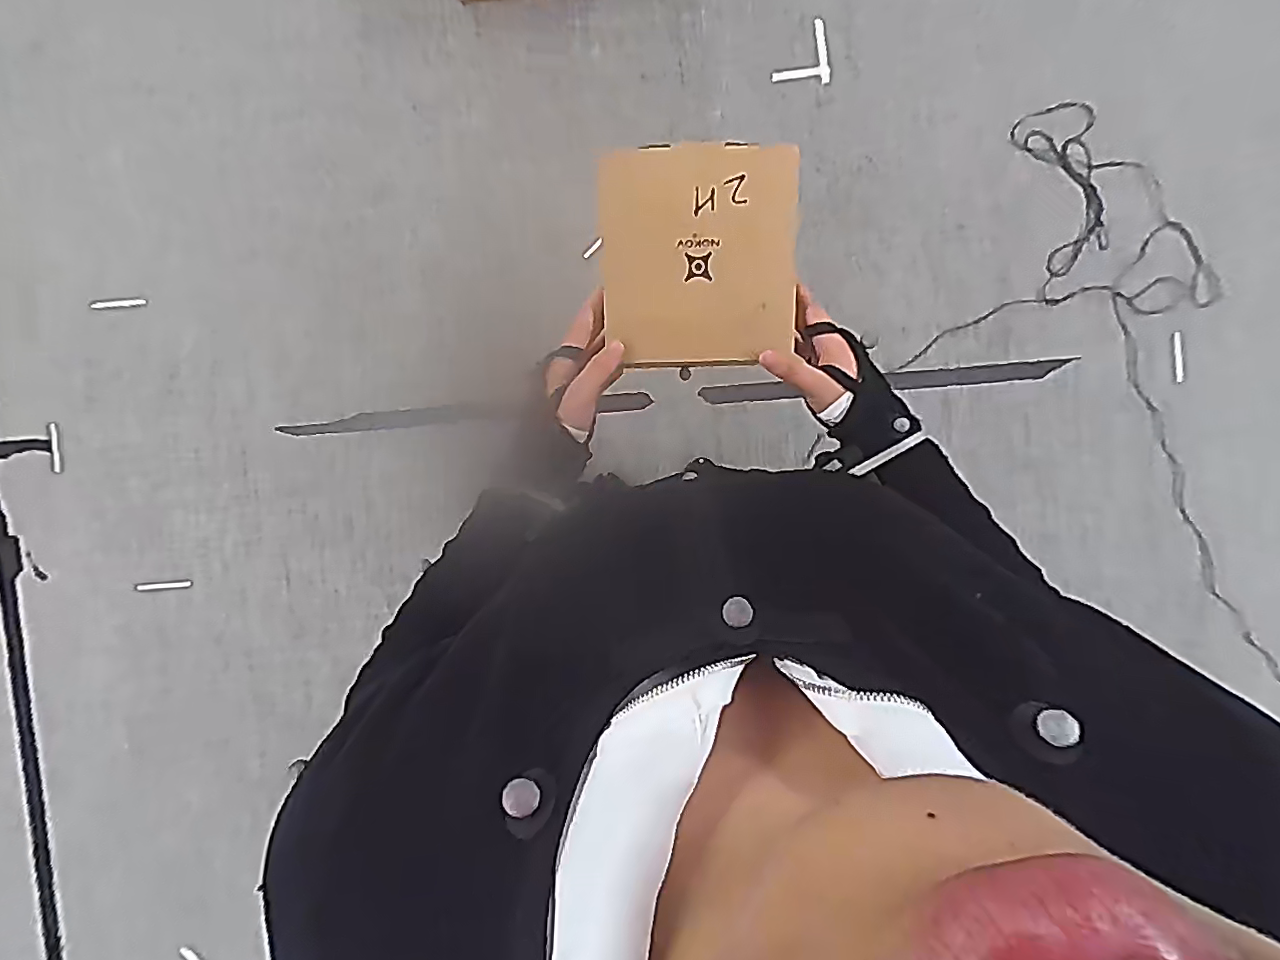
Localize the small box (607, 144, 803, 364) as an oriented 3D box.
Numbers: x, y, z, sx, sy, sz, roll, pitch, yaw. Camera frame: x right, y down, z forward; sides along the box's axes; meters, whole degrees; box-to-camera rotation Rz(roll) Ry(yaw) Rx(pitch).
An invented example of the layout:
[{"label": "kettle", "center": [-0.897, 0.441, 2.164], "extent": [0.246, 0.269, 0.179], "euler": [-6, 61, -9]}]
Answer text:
[{"label": "small box", "center": [0.054, -0.207, 0.542], "extent": [0.168, 0.176, 0.179], "euler": [-1, 100, -1]}]
